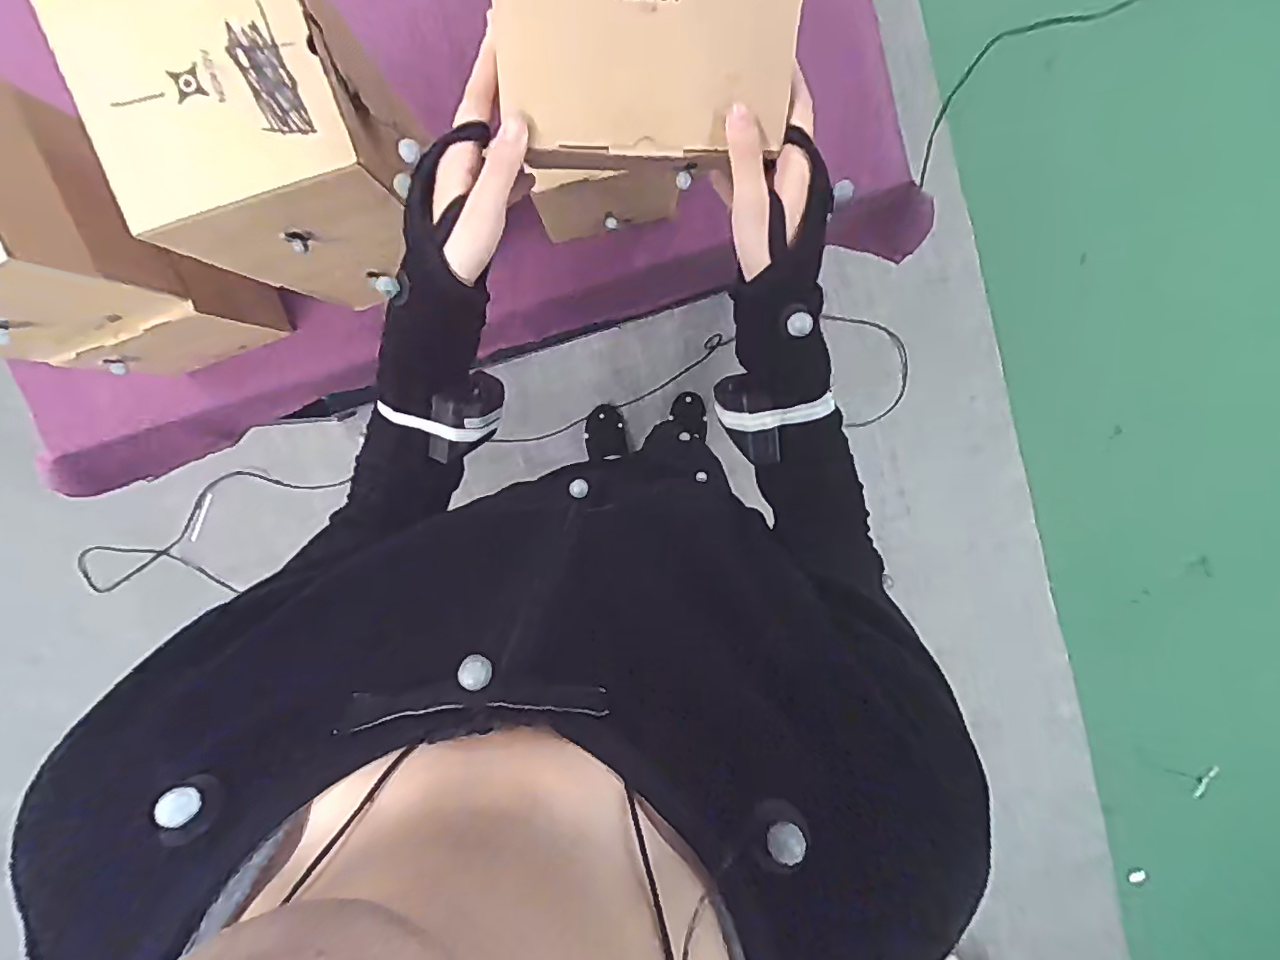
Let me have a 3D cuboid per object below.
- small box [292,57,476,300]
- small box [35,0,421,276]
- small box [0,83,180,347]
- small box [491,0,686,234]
[{"bbox_3d":[-0.314,-0.321,0.618,0.179,0.176,0.168,-18,99,1],"label":"small box"},{"bbox_3d":[-0.309,-0.292,0.455,0.179,0.176,0.168,-17,98,1],"label":"small box"},{"bbox_3d":[-0.559,-0.224,0.461,0.168,0.176,0.179,-22,97,2],"label":"small box"},{"bbox_3d":[-0.051,-0.407,0.611,0.168,0.176,0.179,-12,98,1],"label":"small box"}]
